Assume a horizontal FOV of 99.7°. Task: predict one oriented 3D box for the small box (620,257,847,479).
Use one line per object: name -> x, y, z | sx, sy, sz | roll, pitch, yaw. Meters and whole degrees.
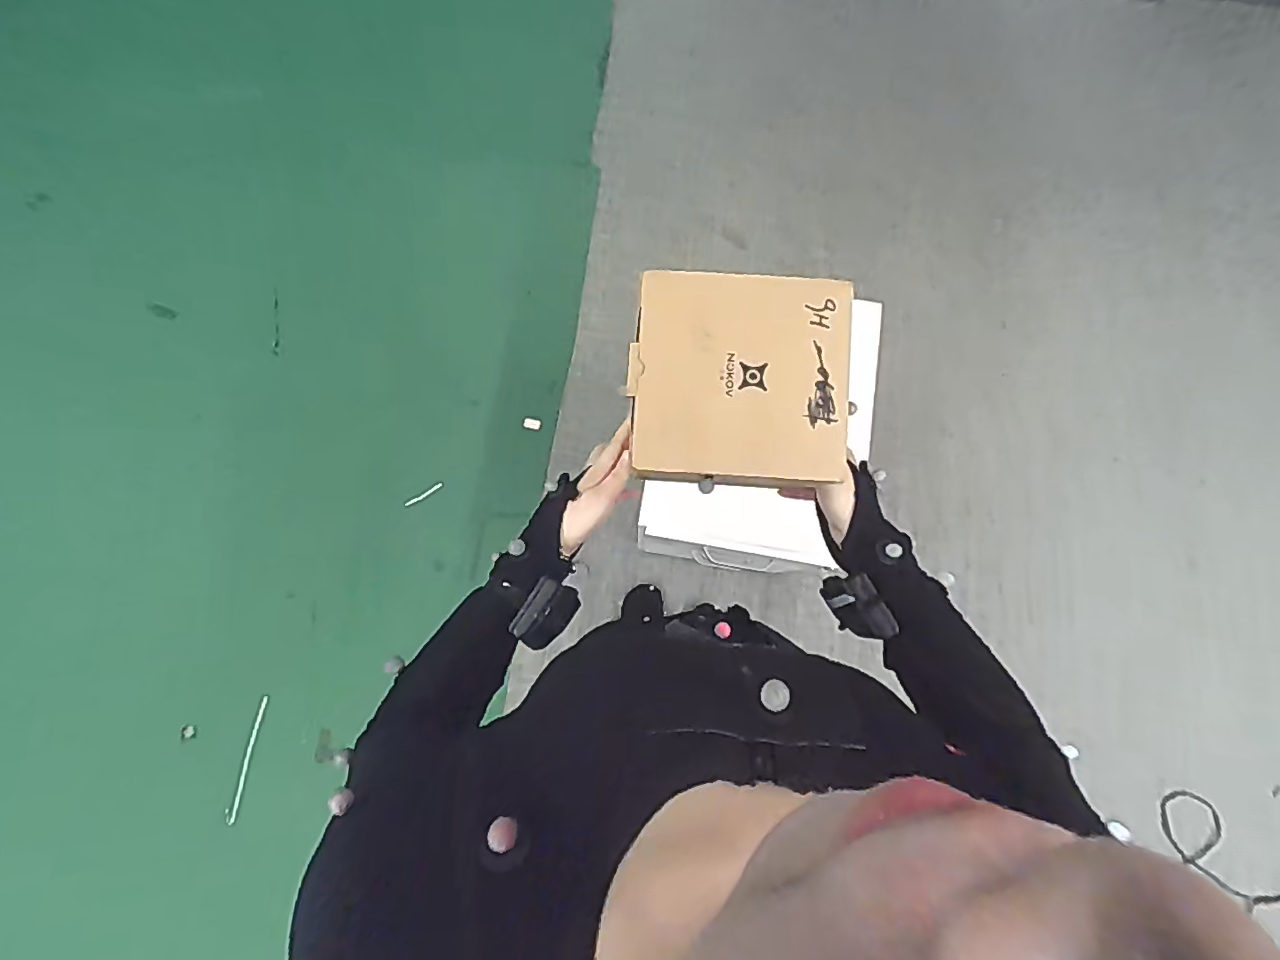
small box -> 0.077, -0.090, 0.514 | 0.179, 0.176, 0.168 | 4, 87, 0
